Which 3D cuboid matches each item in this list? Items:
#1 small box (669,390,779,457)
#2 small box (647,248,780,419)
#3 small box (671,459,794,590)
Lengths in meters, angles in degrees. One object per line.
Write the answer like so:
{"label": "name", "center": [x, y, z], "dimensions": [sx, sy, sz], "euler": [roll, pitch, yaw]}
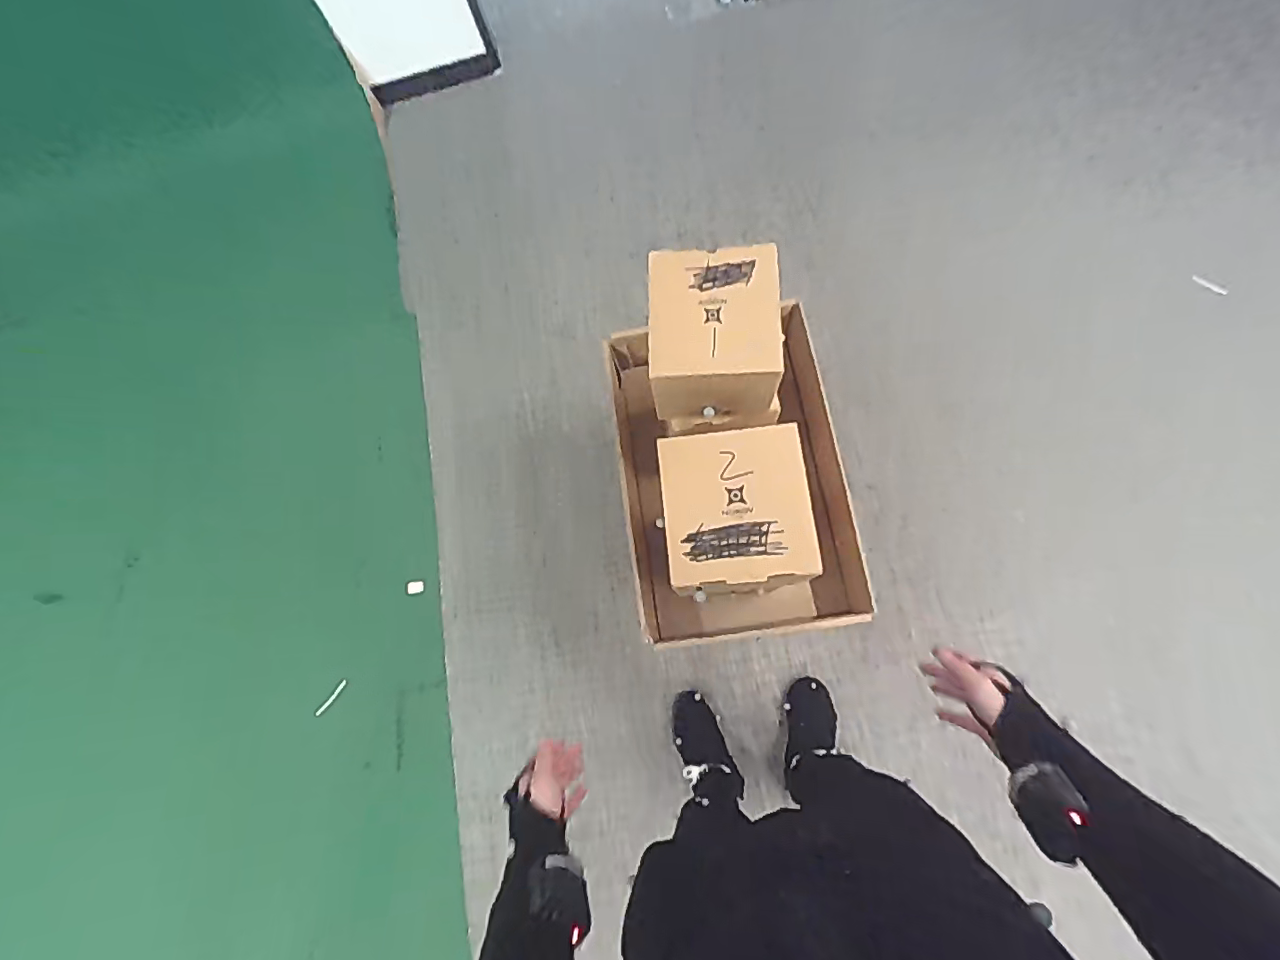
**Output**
{"label": "small box", "center": [0.125, -0.153, 0.914], "dimensions": [0.168, 0.176, 0.179], "euler": [-10, 76, 4]}
{"label": "small box", "center": [0.099, -0.195, 0.757], "dimensions": [0.168, 0.176, 0.179], "euler": [-1, 78, 7]}
{"label": "small box", "center": [0.140, 0.079, 0.847], "dimensions": [0.168, 0.176, 0.179], "euler": [-4, 73, 6]}
